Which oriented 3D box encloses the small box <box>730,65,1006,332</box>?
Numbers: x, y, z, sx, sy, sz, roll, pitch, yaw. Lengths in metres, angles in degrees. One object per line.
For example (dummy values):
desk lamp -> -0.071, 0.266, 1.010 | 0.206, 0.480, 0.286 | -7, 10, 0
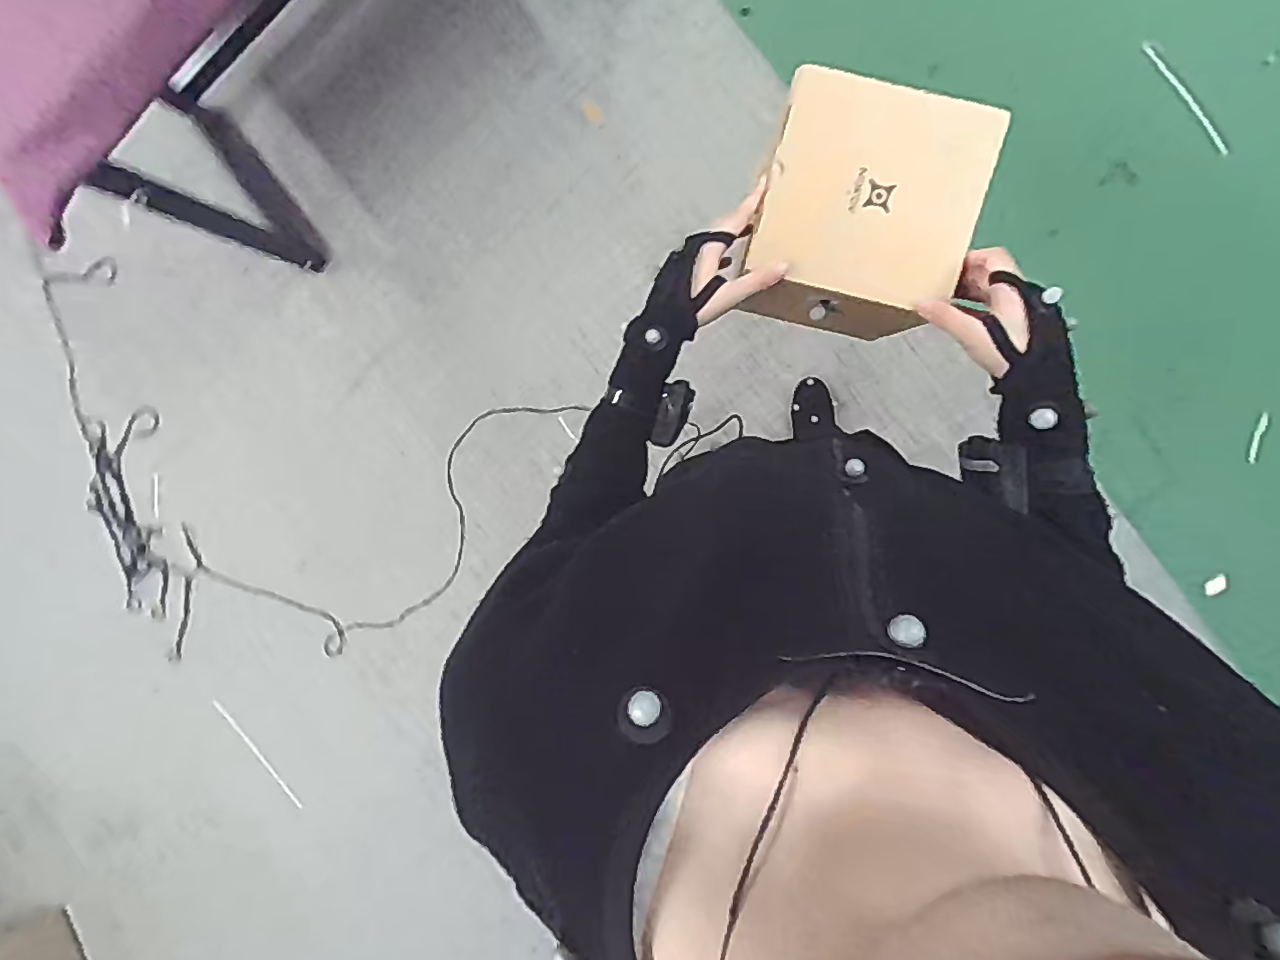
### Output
small box -> 0.196, -0.248, 0.525 | 0.179, 0.176, 0.168 | 14, 98, 2
